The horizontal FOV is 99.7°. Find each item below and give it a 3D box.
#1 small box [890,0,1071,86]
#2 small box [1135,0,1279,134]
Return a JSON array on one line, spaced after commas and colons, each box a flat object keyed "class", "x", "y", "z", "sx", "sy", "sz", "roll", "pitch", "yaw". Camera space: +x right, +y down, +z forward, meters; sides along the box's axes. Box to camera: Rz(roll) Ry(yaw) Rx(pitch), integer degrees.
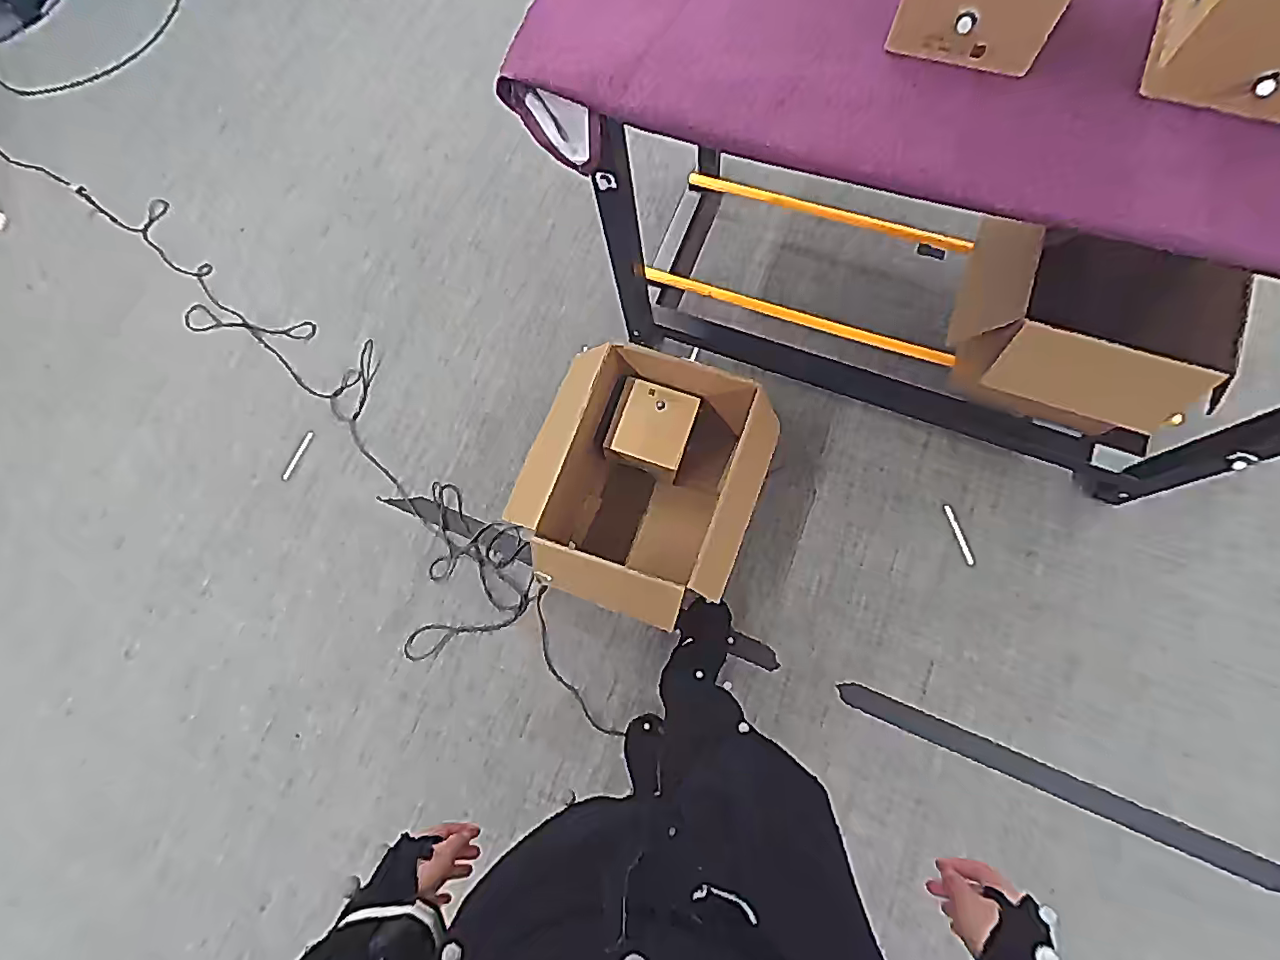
[{"class": "small box", "x": 0.404, "y": -0.596, "z": 0.602, "sx": 0.168, "sy": 0.176, "sz": 0.179, "roll": 20, "pitch": 78, "yaw": 11}, {"class": "small box", "x": 0.670, "y": -0.498, "z": 0.545, "sx": 0.179, "sy": 0.176, "sz": 0.168, "roll": 21, "pitch": 77, "yaw": 12}]
